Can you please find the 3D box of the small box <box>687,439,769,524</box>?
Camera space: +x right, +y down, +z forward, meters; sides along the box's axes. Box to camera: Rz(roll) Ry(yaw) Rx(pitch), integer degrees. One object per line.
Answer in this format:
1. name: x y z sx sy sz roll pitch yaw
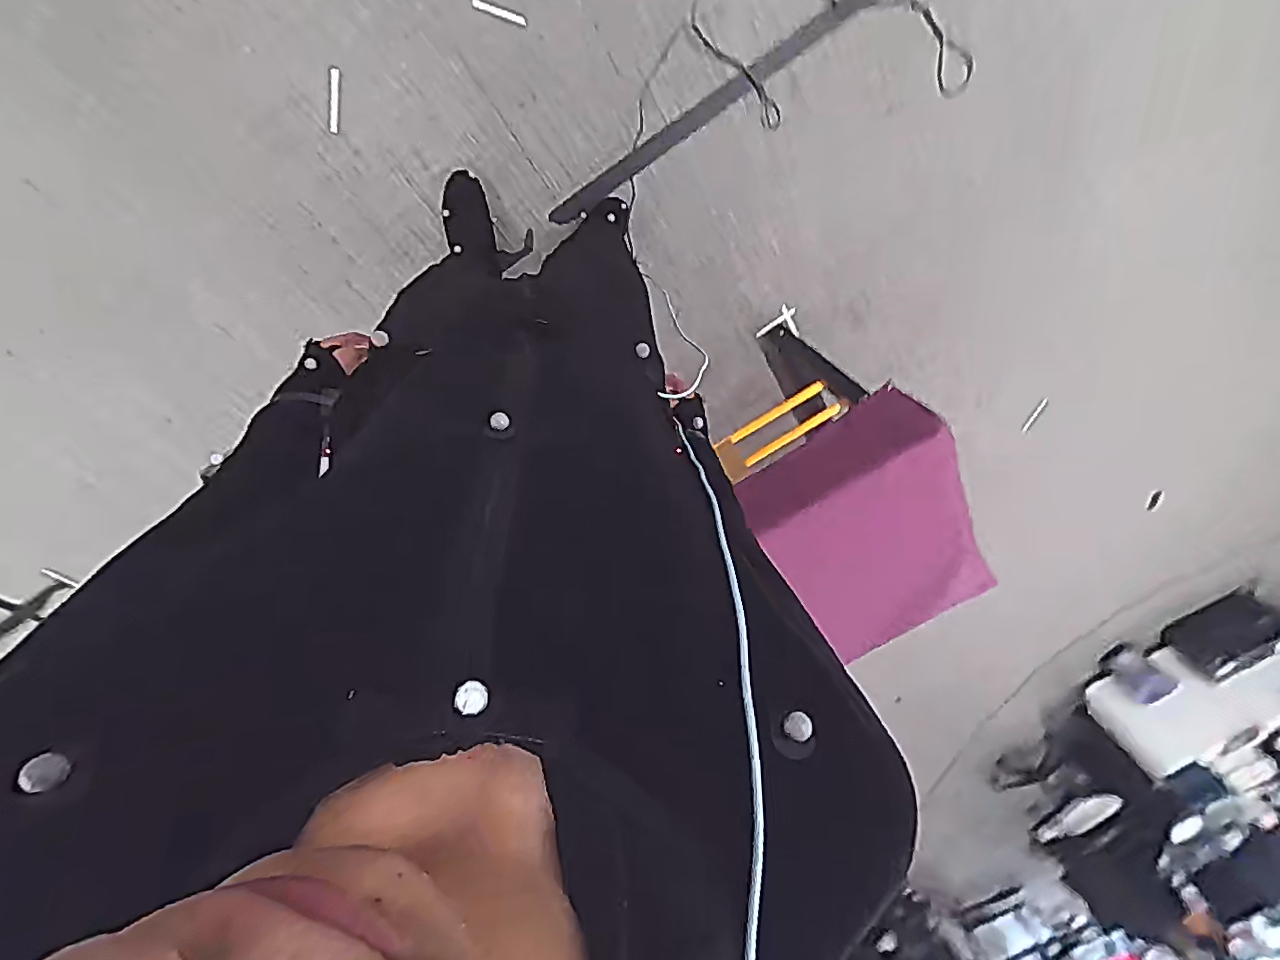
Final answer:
1. small box: 0.278 -0.001 1.733 0.179 0.176 0.168 -33 127 12
